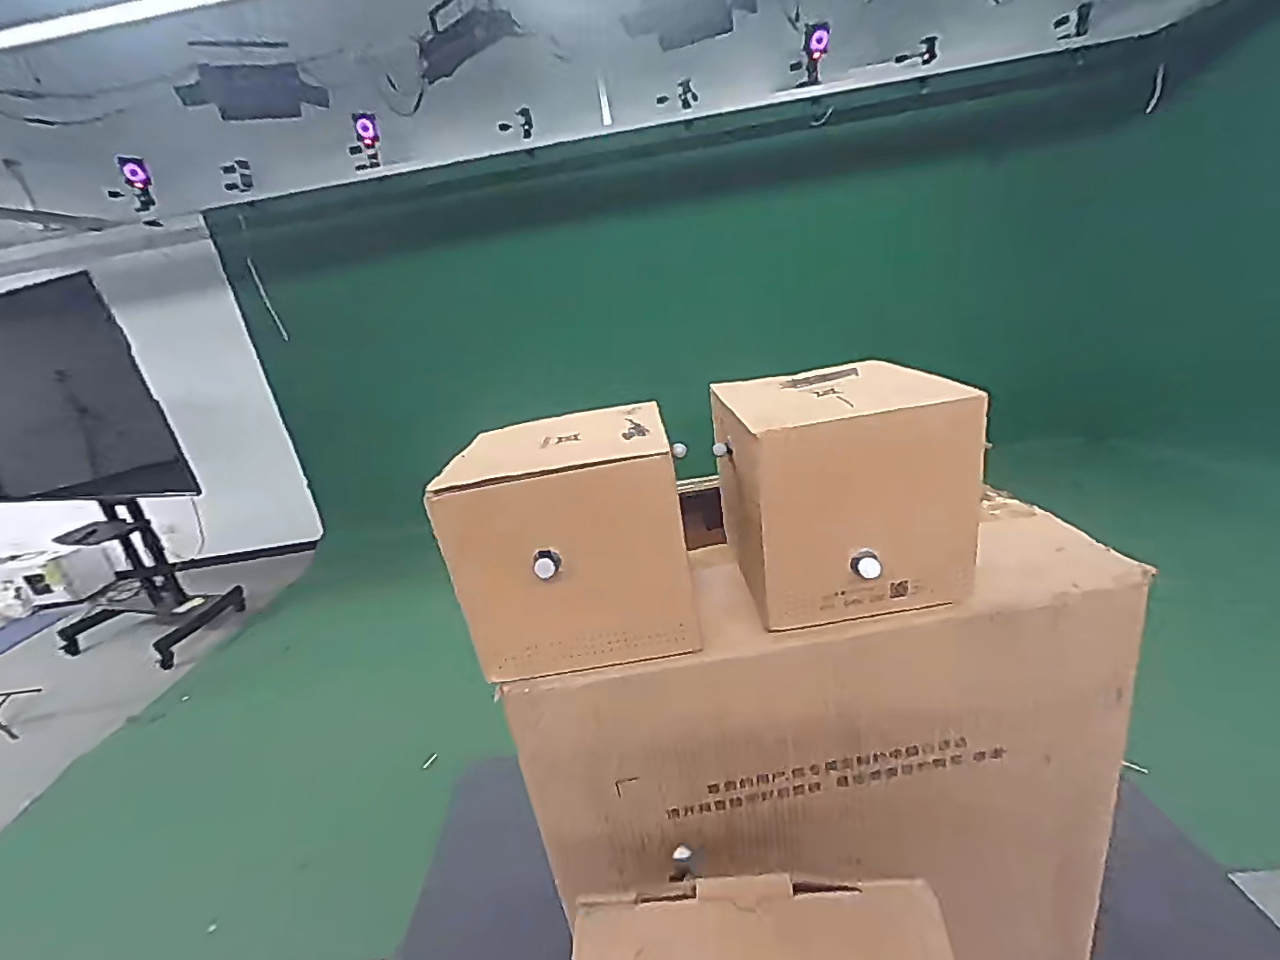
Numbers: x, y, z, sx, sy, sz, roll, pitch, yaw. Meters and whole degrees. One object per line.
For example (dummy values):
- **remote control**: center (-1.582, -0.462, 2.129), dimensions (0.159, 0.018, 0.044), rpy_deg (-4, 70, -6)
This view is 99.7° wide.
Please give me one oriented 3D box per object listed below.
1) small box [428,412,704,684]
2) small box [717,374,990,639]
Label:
- **small box**: center (-0.051, 0.053, 0.470), dimensions (0.179, 0.176, 0.168), rpy_deg (-10, 21, 1)
- **small box**: center (0.166, 0.013, 0.477), dimensions (0.168, 0.176, 0.179), rpy_deg (-9, 22, 0)
